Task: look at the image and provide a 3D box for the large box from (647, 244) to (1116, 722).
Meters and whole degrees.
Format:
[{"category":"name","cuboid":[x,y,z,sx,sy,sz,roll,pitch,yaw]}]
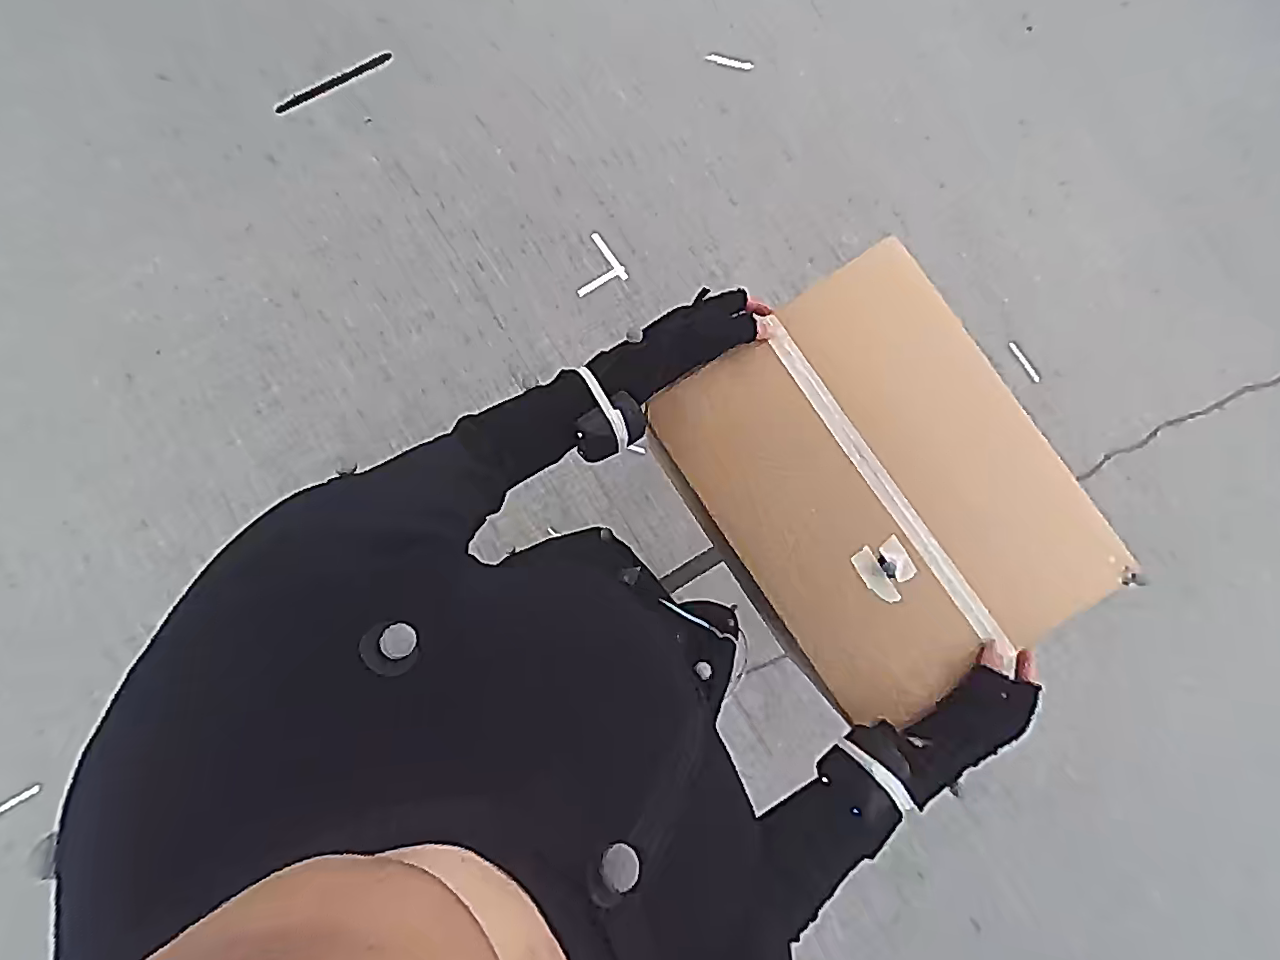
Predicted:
[{"category":"large box","cuboid":[0.243,0.004,0.697,0.320,0.320,0.408,-34,87,1]}]
